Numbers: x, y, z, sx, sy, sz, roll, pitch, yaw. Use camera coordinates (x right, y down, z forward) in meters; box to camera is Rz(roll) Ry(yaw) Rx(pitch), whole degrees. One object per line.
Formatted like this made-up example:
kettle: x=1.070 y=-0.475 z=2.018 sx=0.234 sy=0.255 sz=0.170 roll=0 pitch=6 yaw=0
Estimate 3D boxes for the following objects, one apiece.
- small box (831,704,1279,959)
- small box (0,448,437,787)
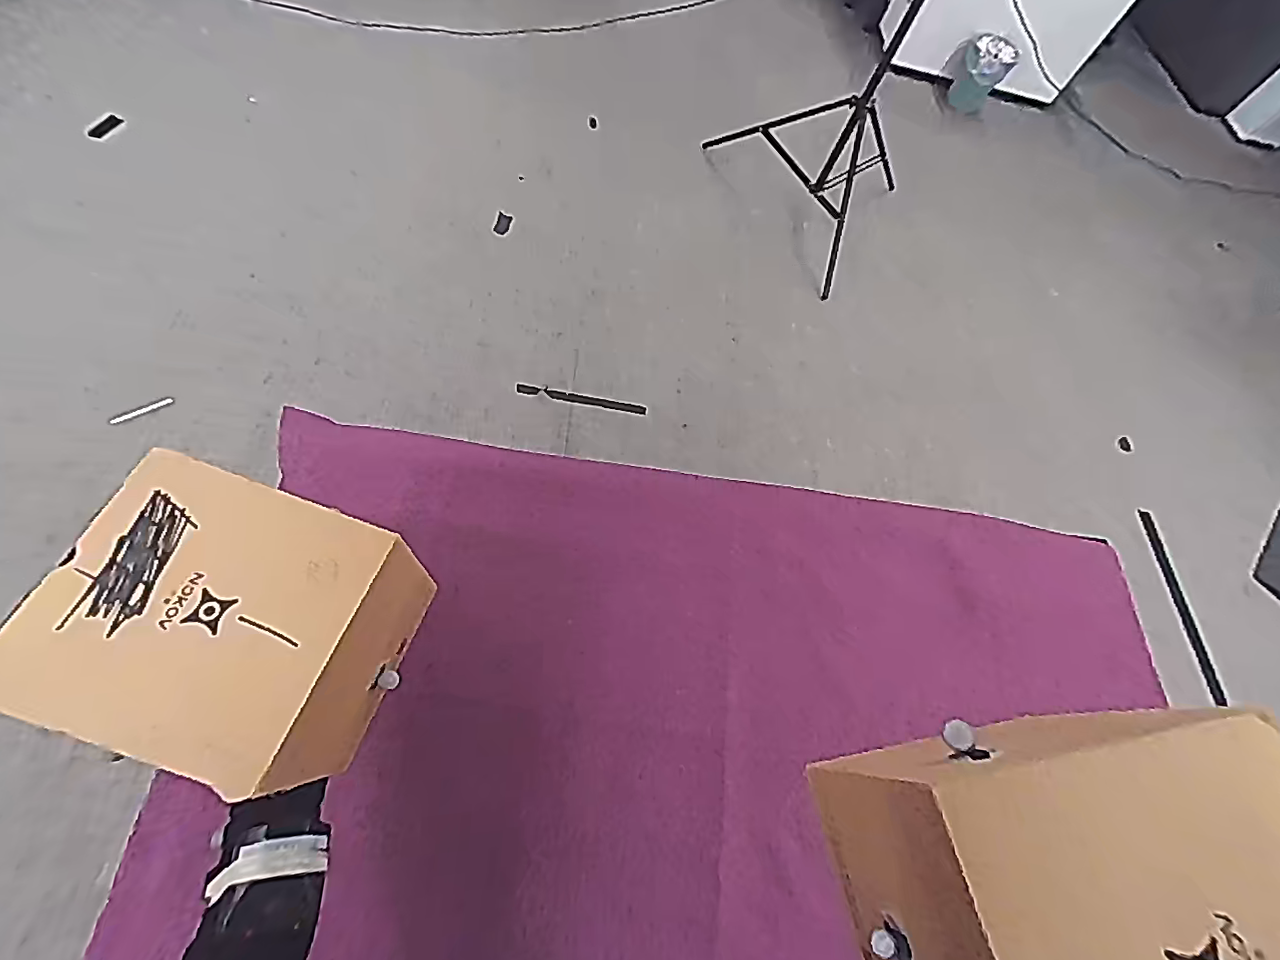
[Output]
small box: x=0.221 y=0.224 z=0.282 sx=0.179 sy=0.176 sz=0.168 roll=-8 pitch=65 yaw=-7
small box: x=-0.279 y=0.107 z=0.406 sx=0.179 sy=0.176 sz=0.168 roll=21 pitch=65 yaw=-2
